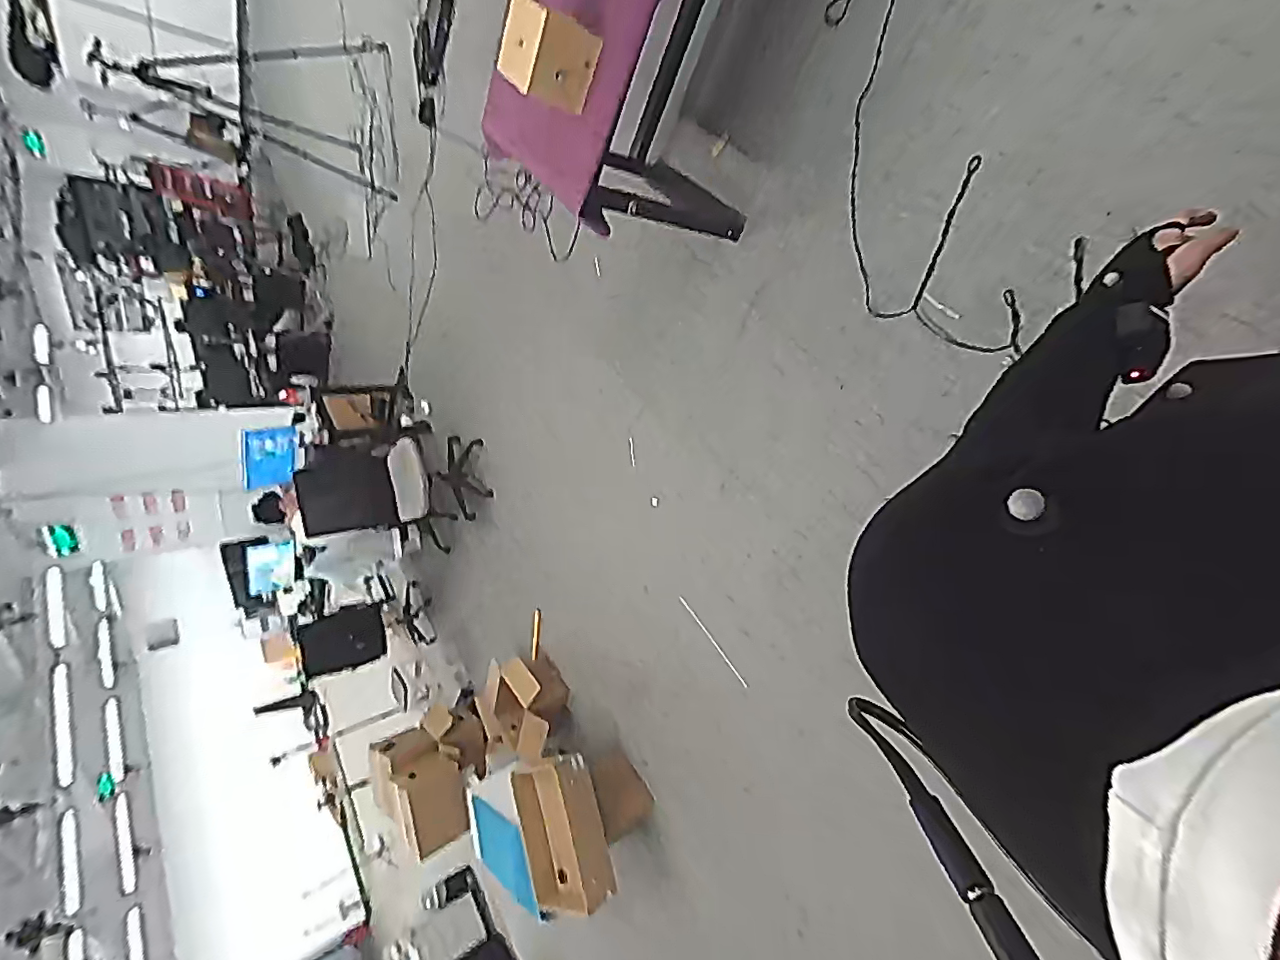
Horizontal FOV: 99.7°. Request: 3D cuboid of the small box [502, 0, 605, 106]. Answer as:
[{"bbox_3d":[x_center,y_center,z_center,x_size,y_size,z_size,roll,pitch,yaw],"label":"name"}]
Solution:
[{"bbox_3d":[-0.213,-1.054,1.329,0.179,0.176,0.168,53,134,28],"label":"small box"}]
